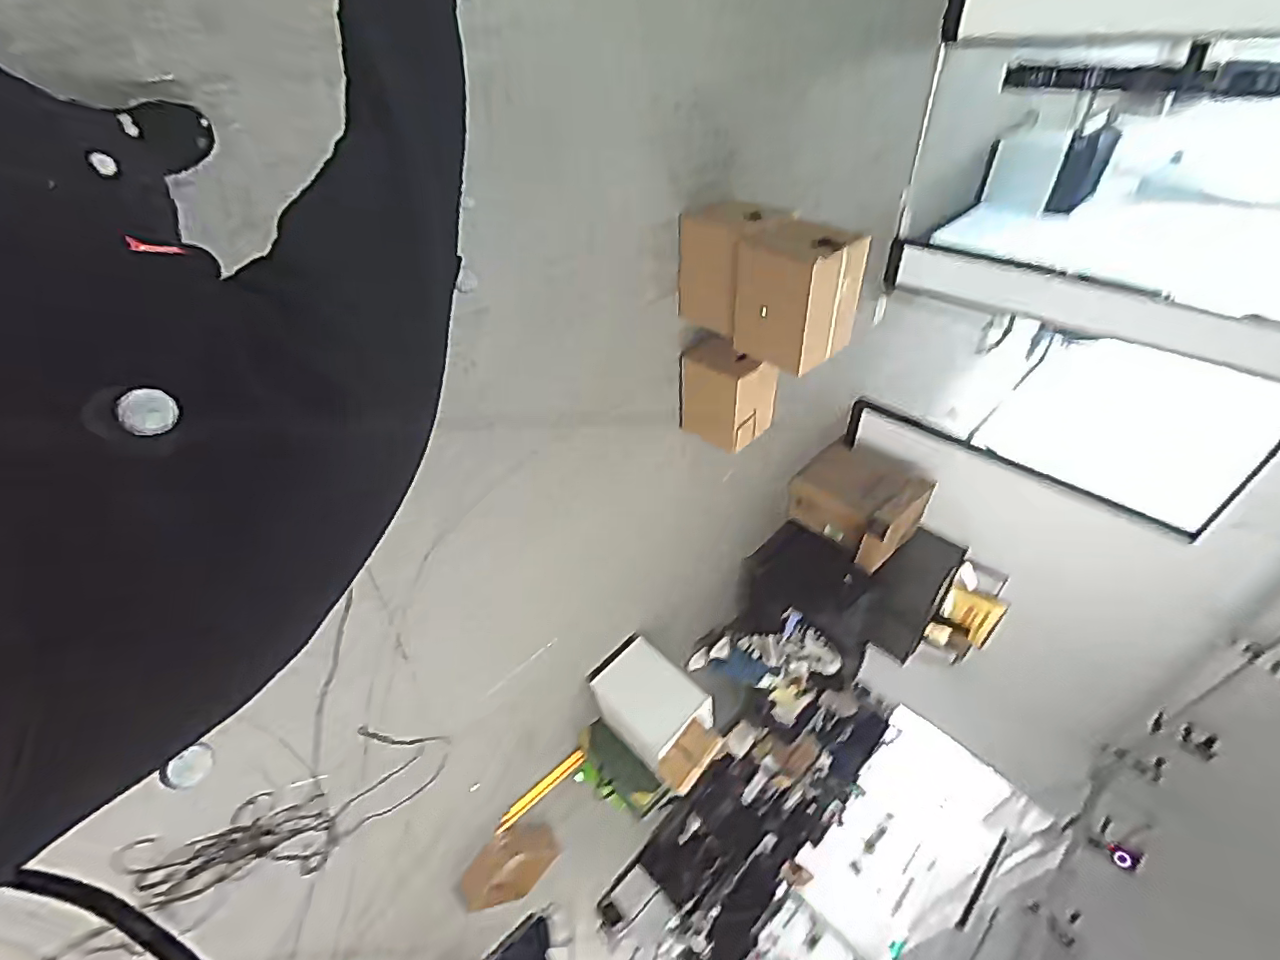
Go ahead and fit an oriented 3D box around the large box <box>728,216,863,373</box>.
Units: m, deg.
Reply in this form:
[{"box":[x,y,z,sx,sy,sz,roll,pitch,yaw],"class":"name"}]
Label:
[{"box":[0.531,-0.659,1.911,0.320,0.320,0.408,-33,139,-27],"class":"large box"}]
